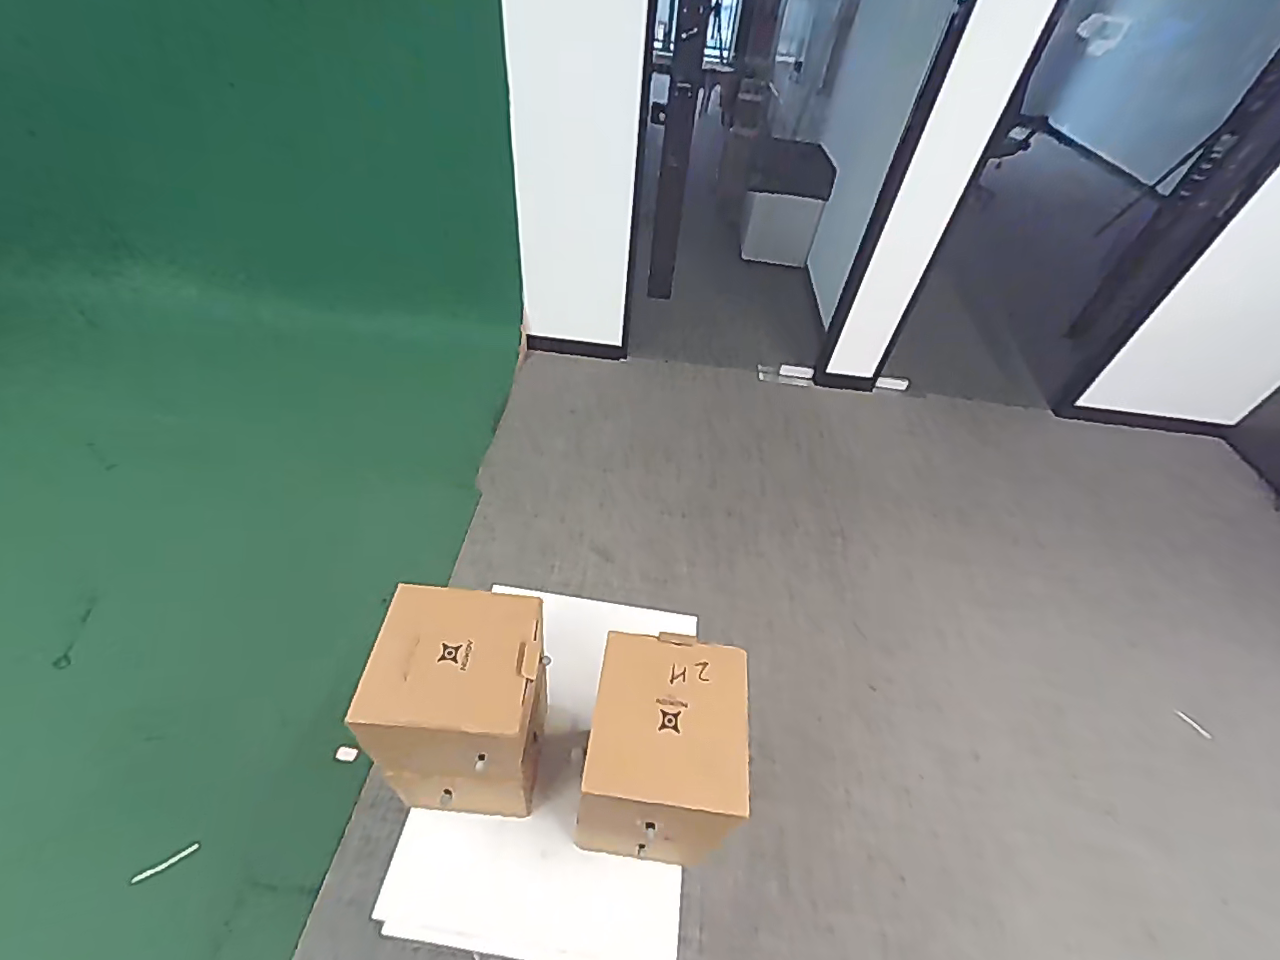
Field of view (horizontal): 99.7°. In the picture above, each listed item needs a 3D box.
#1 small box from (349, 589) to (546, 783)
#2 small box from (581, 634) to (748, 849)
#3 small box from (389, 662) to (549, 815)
[{"bbox_3d":[-0.213,0.254,0.659,0.179,0.176,0.168,5,45,-4],"label":"small box"},{"bbox_3d":[0.029,0.310,0.635,0.168,0.176,0.179,8,46,1],"label":"small box"},{"bbox_3d":[-0.230,0.368,0.777,0.179,0.176,0.168,7,47,-4],"label":"small box"}]
